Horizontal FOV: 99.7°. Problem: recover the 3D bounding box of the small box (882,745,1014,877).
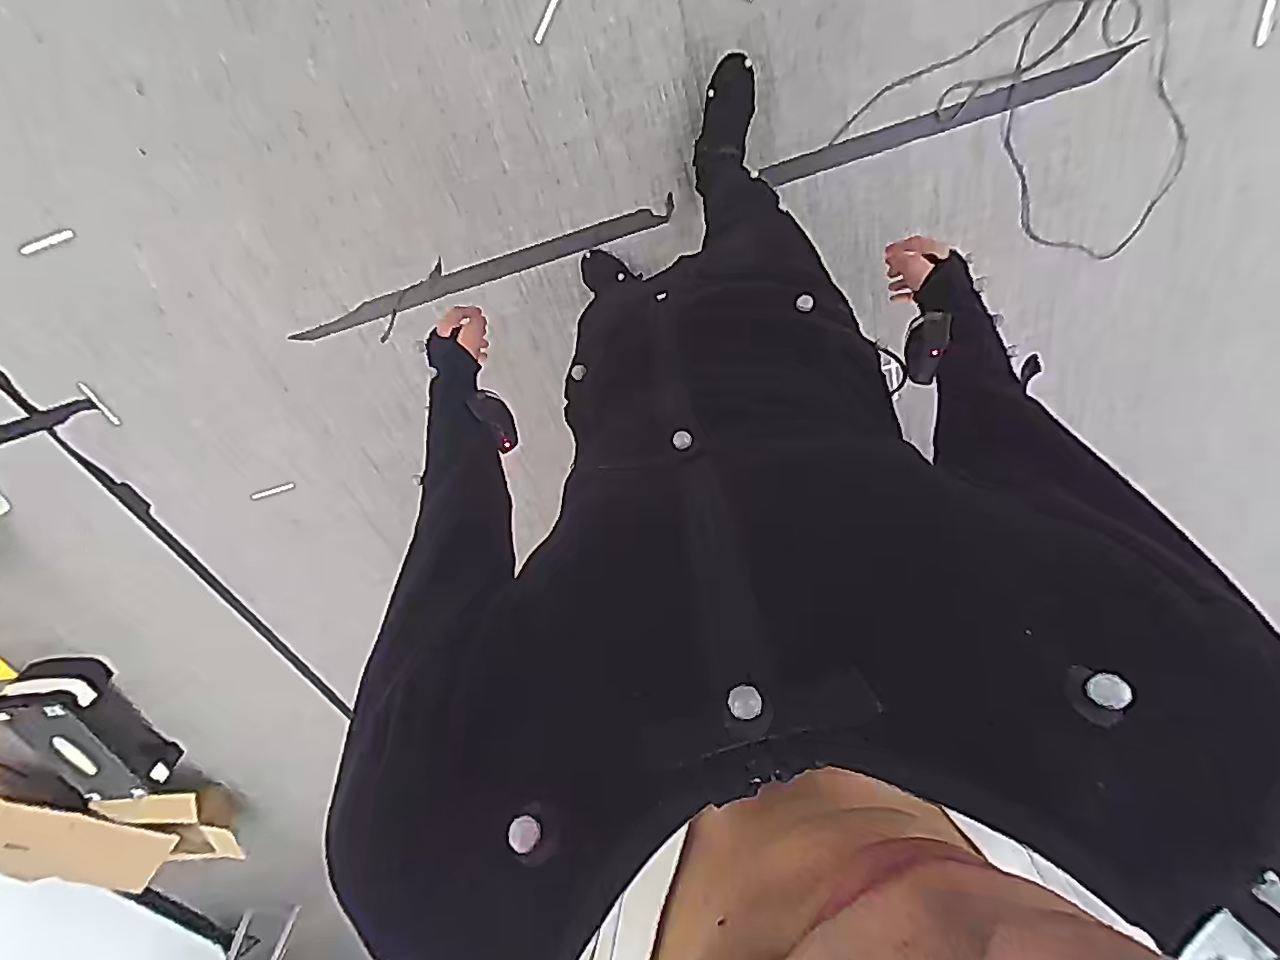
[{"bbox_3d":[0.622,0.671,1.105,0.179,0.176,0.168,-18,123,9],"label":"small box"}]
